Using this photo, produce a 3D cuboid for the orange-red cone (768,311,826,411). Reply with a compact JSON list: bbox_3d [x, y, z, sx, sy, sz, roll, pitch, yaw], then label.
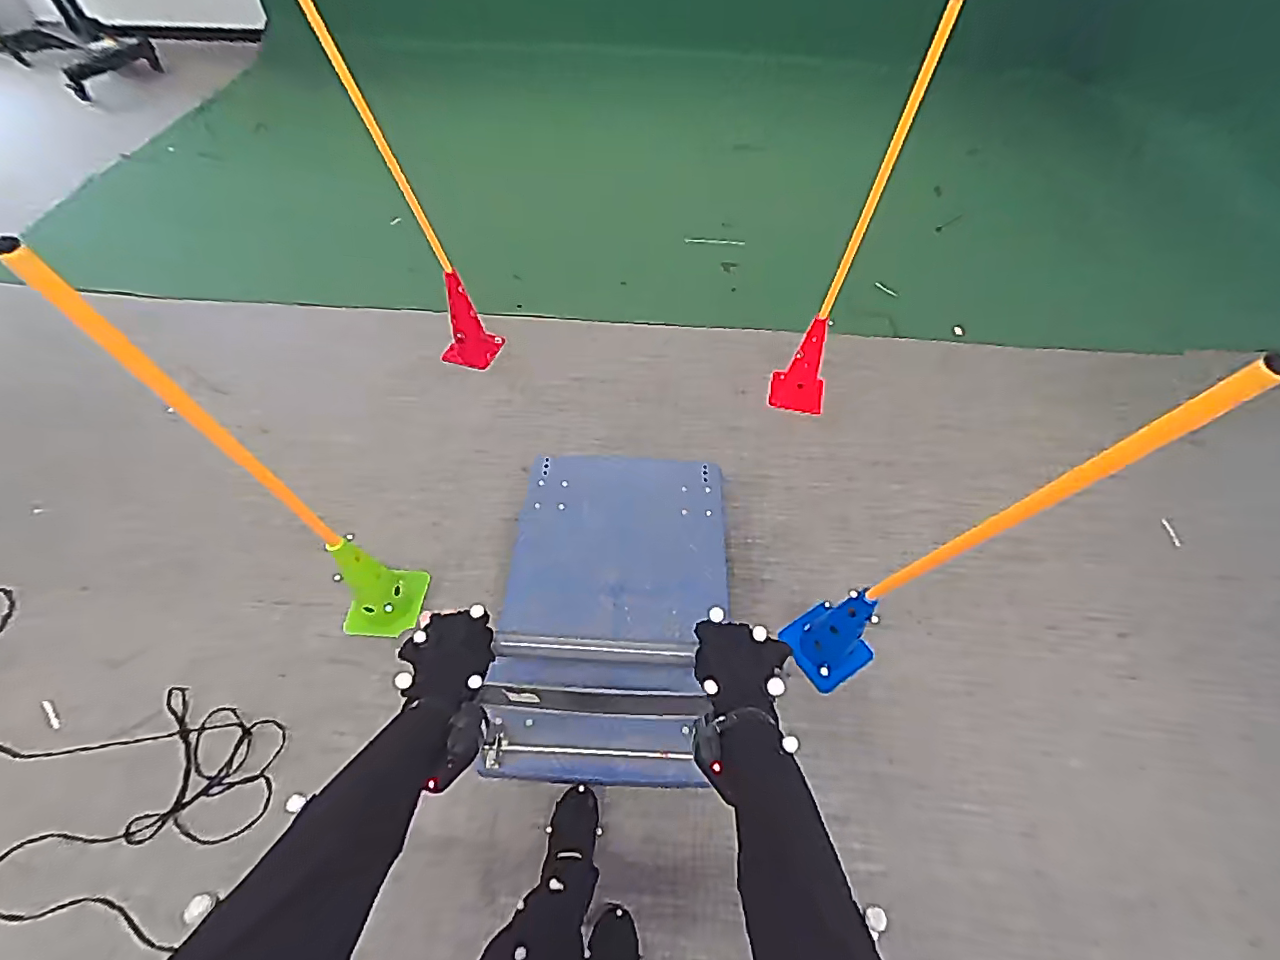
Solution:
[{"bbox_3d":[0.599,-0.446,1.929,0.198,0.360,0.199,13,56,9],"label":"orange-red cone"}]
